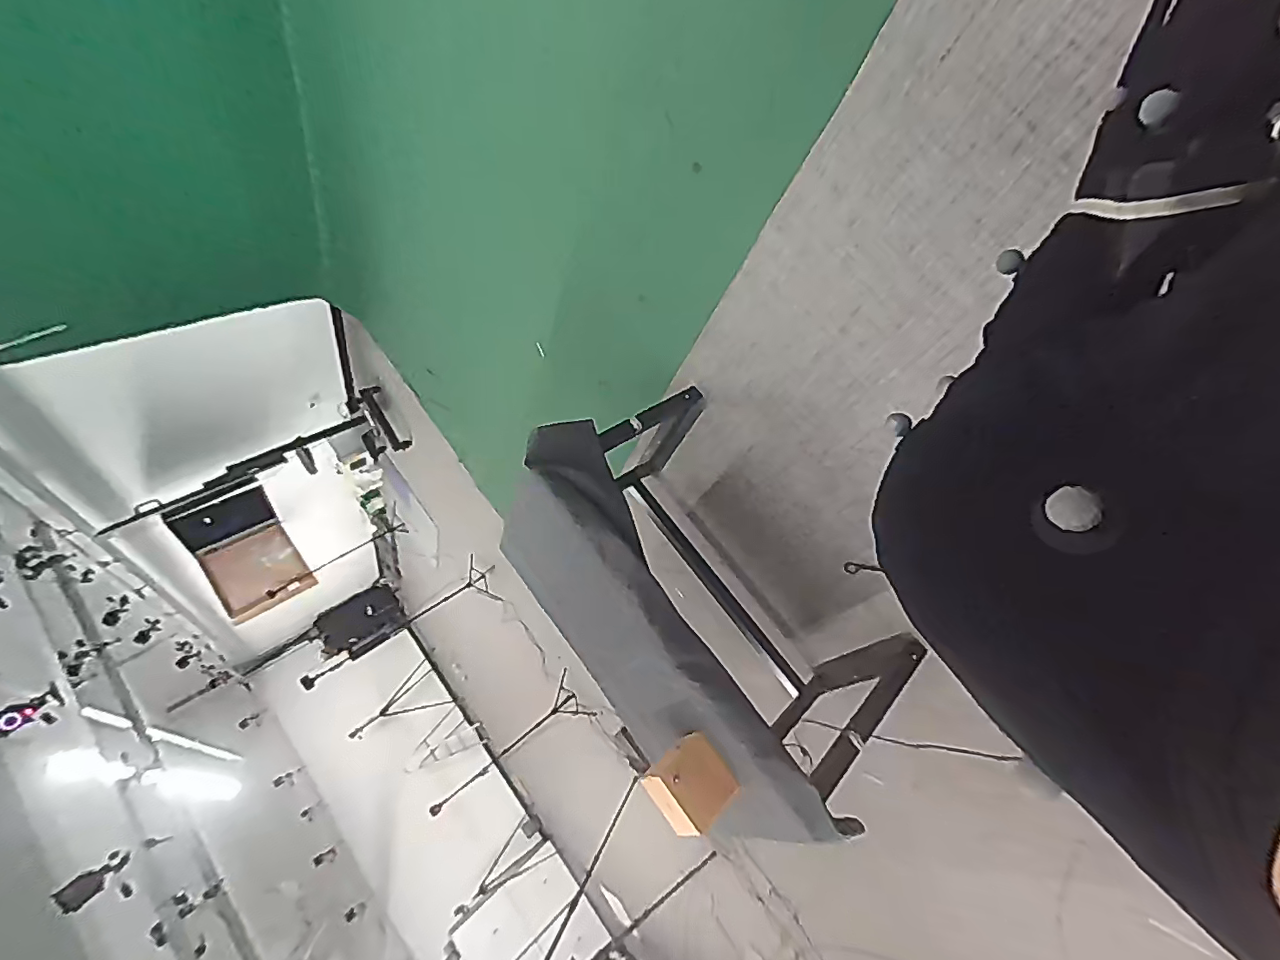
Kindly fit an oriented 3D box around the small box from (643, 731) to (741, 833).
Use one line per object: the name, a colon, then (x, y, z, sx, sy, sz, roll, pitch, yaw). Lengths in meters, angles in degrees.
small box: (0.144, 0.824, 1.478, 0.179, 0.176, 0.168, 50, 146, 14)
